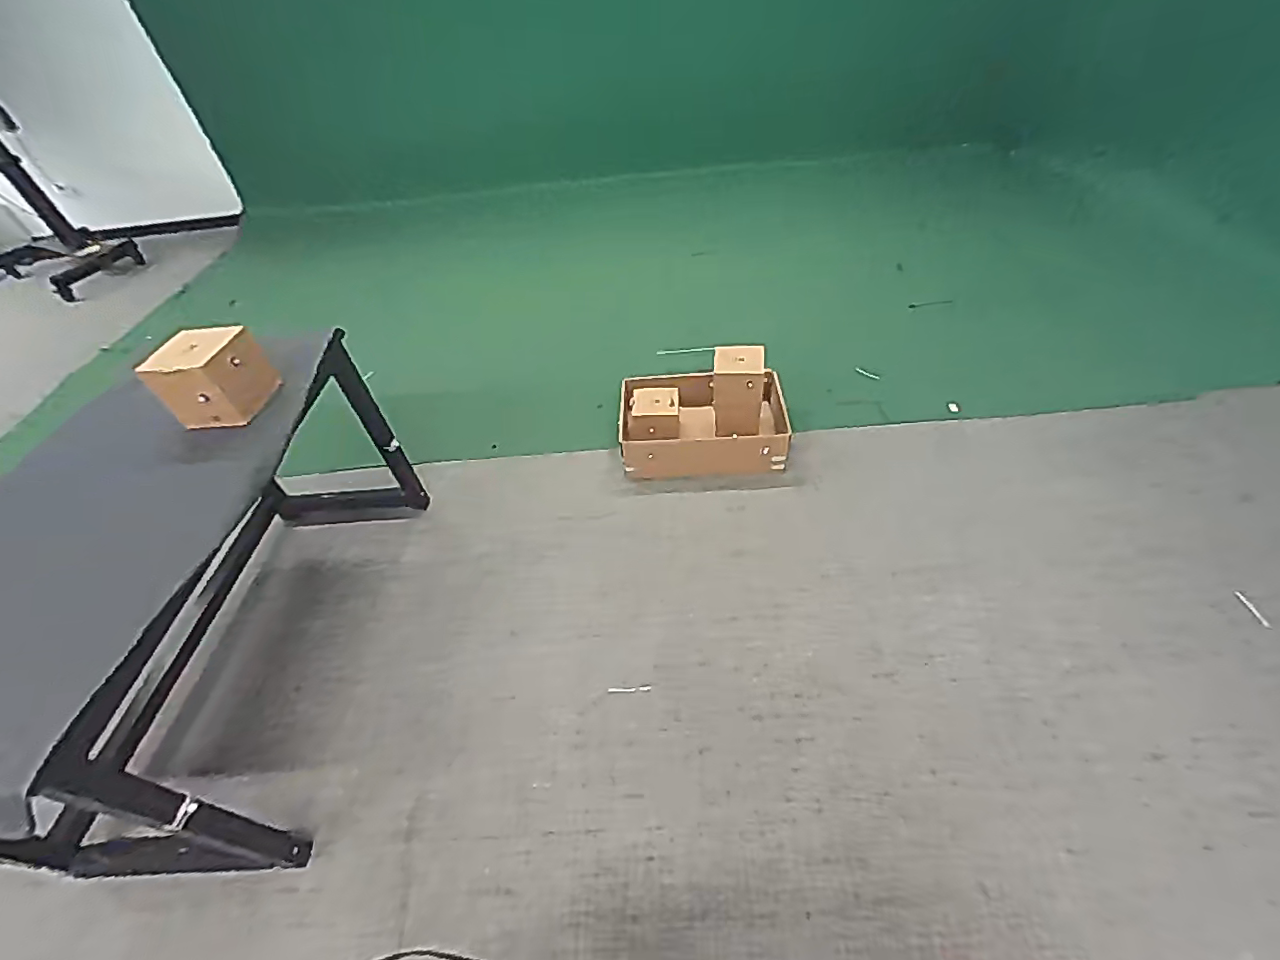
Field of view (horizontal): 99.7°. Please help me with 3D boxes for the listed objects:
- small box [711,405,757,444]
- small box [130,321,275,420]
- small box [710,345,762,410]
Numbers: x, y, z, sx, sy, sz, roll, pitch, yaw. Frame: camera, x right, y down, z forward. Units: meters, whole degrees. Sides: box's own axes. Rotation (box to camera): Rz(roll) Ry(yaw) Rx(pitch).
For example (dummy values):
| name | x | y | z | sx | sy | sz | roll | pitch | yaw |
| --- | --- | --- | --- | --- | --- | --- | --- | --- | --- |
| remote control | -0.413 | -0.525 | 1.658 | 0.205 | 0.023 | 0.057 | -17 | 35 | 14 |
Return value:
| name | x | y | z | sx | sy | sz | roll | pitch | yaw |
| --- | --- | --- | --- | --- | --- | --- | --- | --- | --- |
| small box | 0.360 | -0.260 | 2.079 | 0.168 | 0.176 | 0.179 | 2 | 49 | 9 |
| small box | -1.016 | -0.253 | 1.278 | 0.168 | 0.176 | 0.179 | -1 | 46 | 5 |
| small box | 0.346 | -0.368 | 1.955 | 0.179 | 0.176 | 0.168 | 2 | 47 | 9 |
